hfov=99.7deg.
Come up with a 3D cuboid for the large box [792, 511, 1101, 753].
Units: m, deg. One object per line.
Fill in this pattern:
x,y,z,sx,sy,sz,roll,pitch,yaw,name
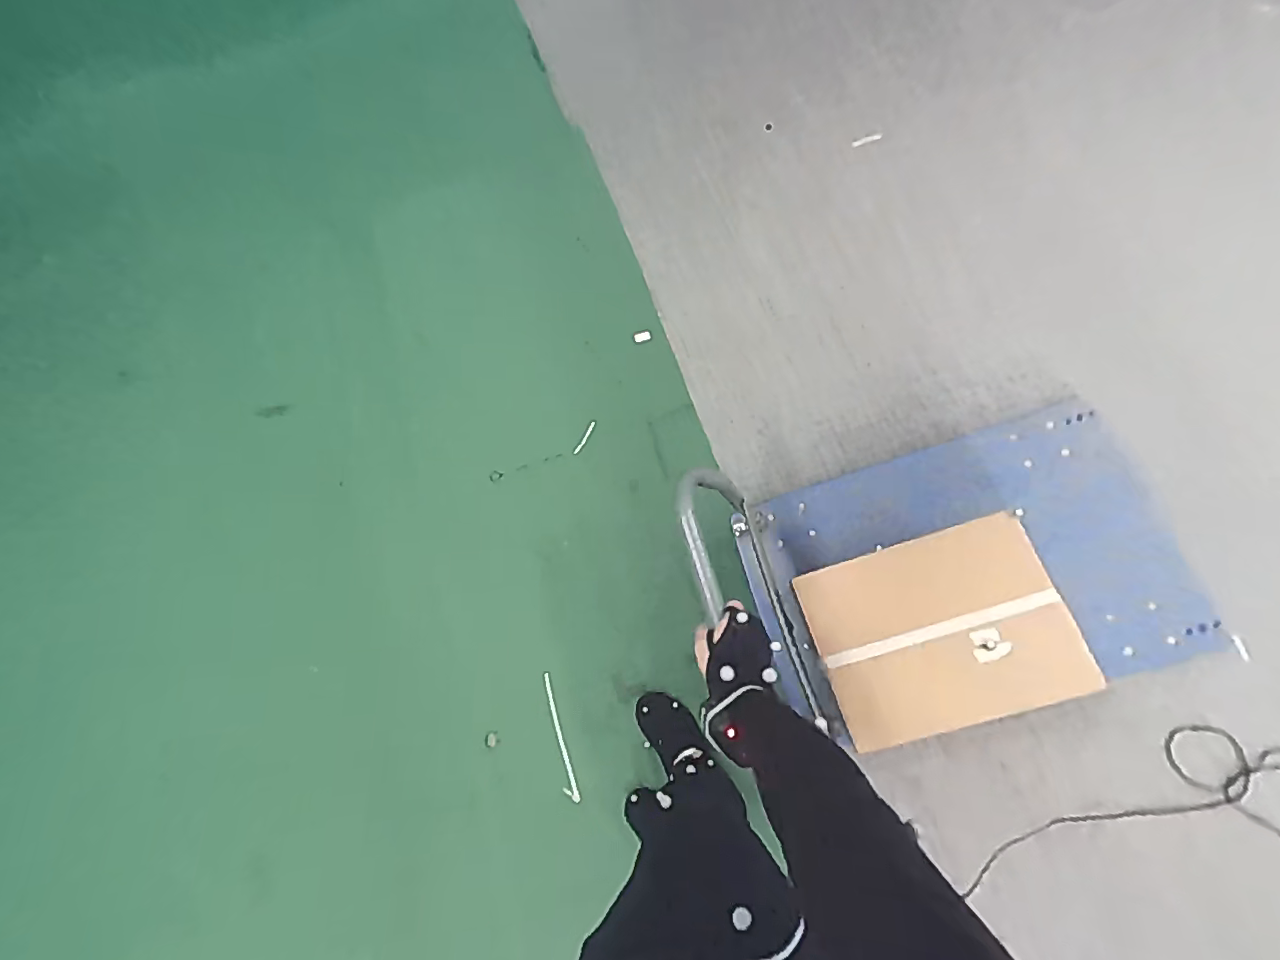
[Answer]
0.554,0.300,1.084,0.408,0.320,0.320,-21,72,9,large box
